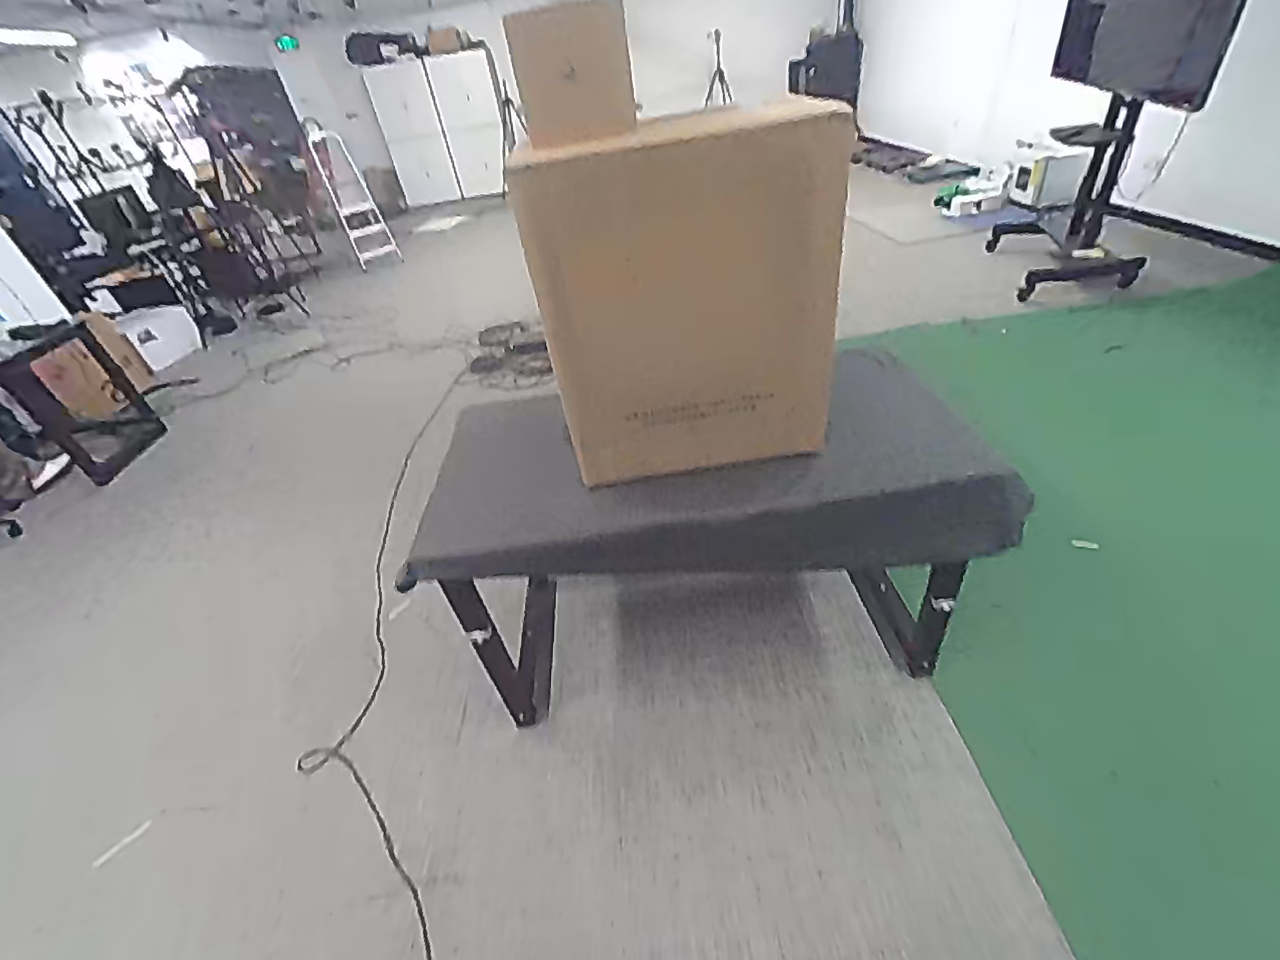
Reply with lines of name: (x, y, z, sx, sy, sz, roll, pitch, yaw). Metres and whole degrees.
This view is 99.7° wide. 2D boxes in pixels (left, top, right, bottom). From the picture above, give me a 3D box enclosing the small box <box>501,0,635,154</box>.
small box: (-0.107, -0.648, 0.871, 0.179, 0.176, 0.168, -12, 40, 1)
